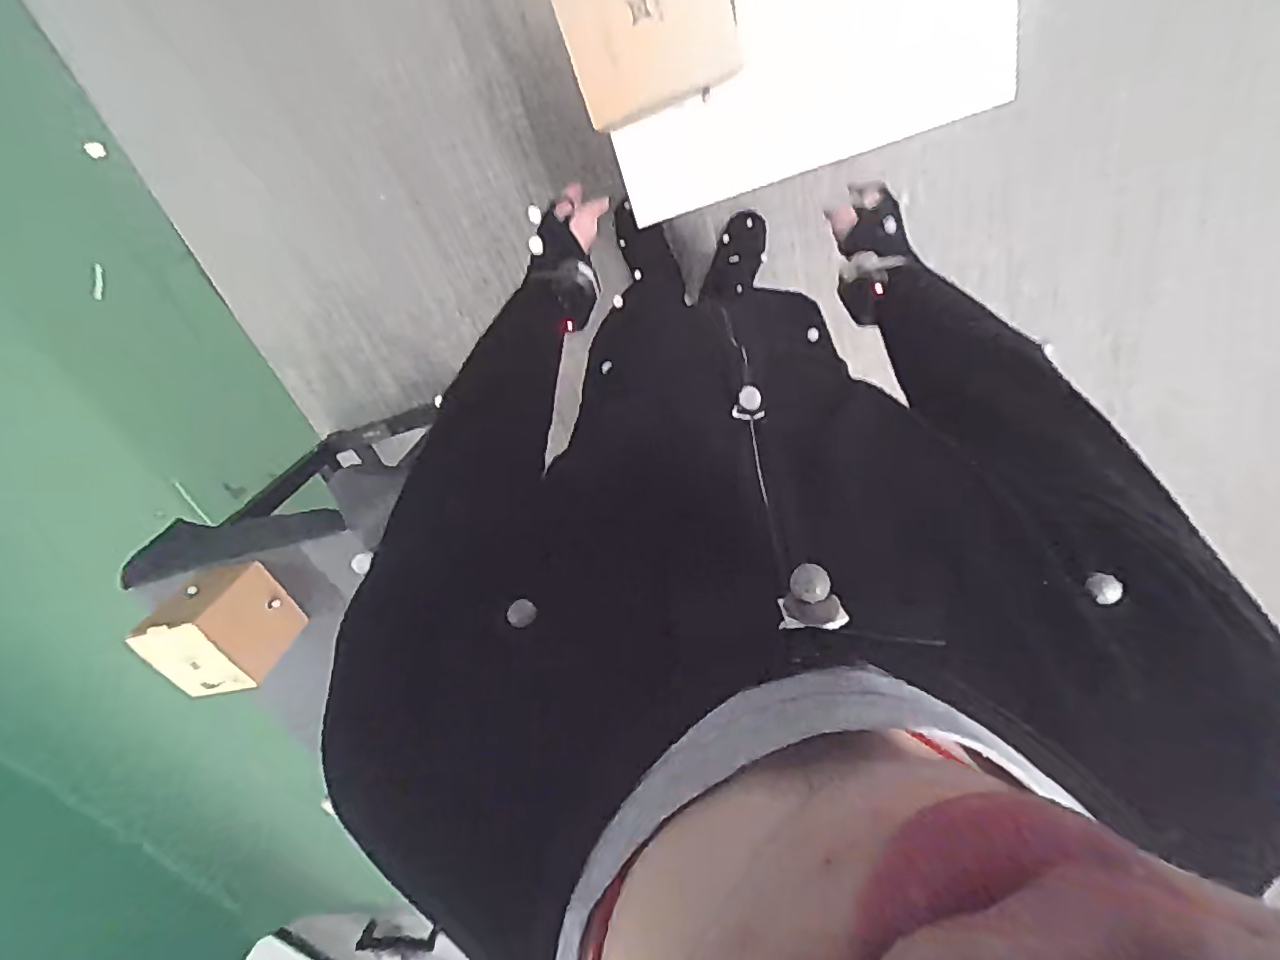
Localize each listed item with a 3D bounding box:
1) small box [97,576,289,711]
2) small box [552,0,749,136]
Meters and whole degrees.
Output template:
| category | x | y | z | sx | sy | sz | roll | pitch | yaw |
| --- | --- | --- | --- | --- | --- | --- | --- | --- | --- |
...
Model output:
| category | x | y | z | sx | sy | sz | roll | pitch | yaw |
| --- | --- | --- | --- | --- | --- | --- | --- | --- | --- |
| small box | -0.816 | 0.297 | 1.009 | 0.168 | 0.176 | 0.179 | -13 | 120 | 12 |
| small box | 0.011 | -0.509 | 0.606 | 0.179 | 0.176 | 0.168 | -15 | 118 | 13 |
